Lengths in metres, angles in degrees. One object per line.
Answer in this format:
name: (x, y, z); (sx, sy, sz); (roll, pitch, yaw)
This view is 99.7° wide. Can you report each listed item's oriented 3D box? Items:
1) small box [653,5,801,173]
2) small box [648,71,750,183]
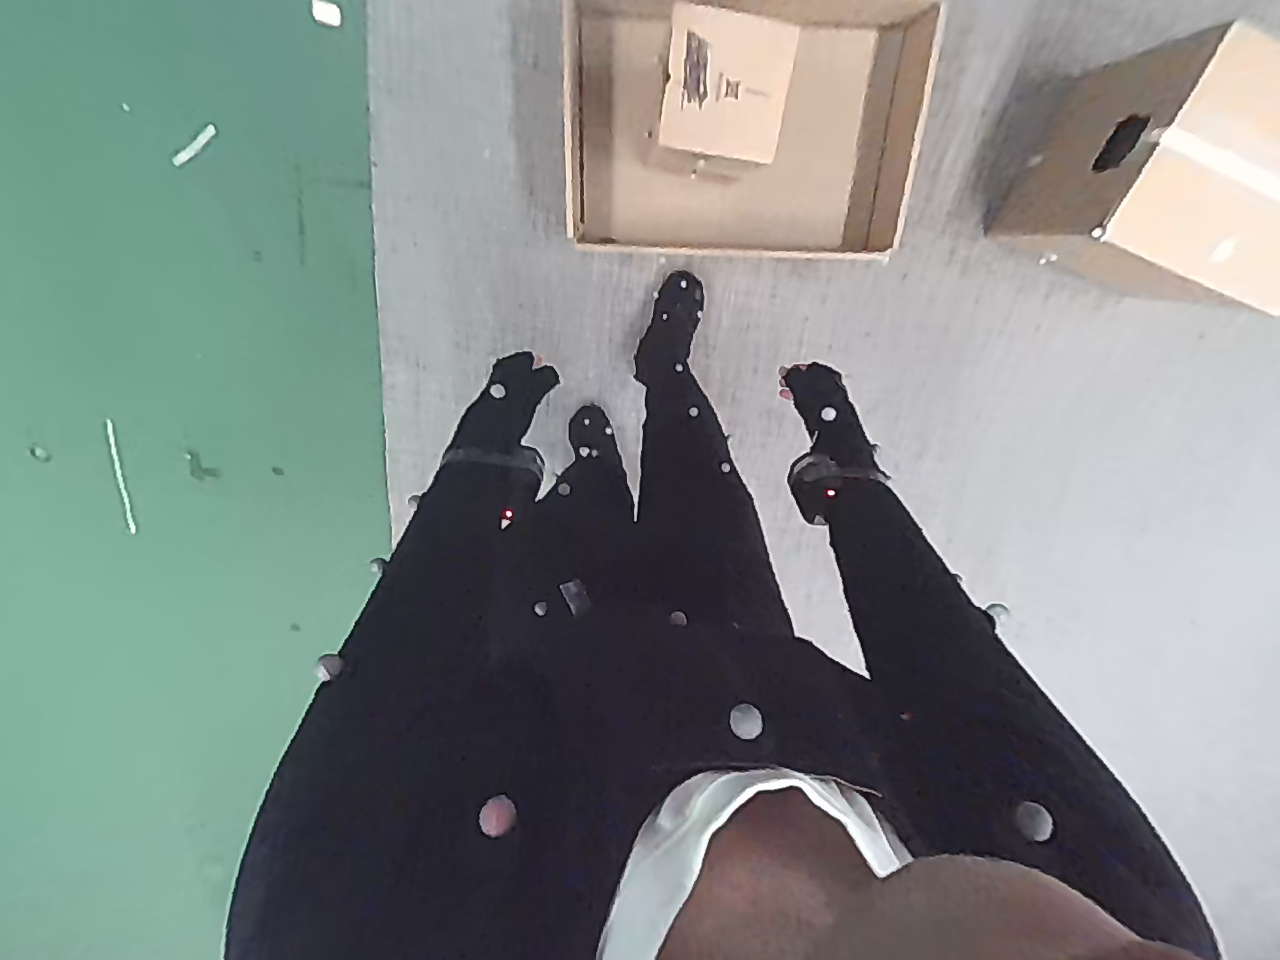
small box: (0.118, -0.579, 0.828); (0.179, 0.176, 0.168); (6, 115, -6)
small box: (0.114, -0.646, 0.978); (0.179, 0.176, 0.168); (6, 115, -7)
